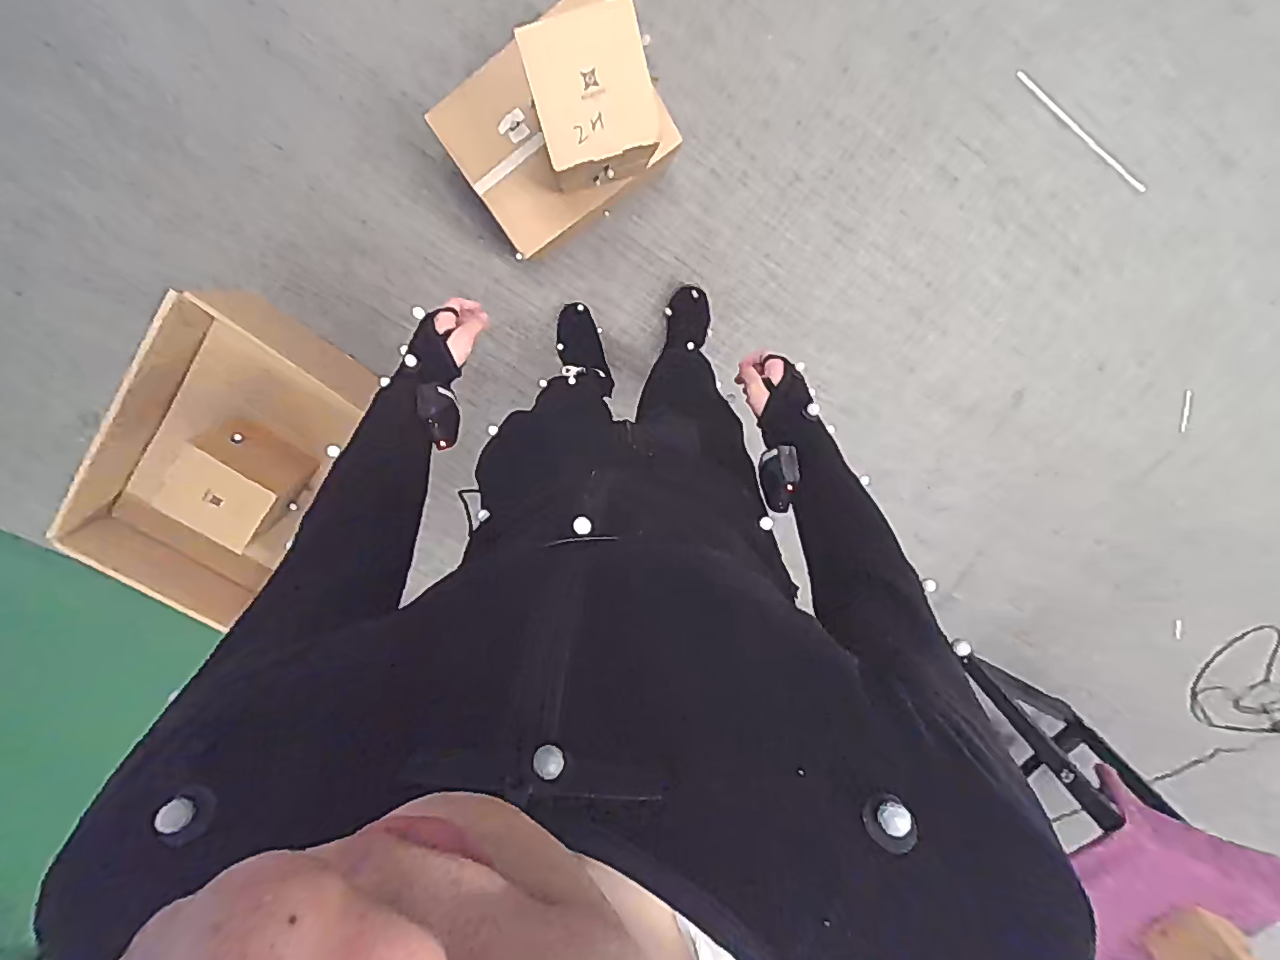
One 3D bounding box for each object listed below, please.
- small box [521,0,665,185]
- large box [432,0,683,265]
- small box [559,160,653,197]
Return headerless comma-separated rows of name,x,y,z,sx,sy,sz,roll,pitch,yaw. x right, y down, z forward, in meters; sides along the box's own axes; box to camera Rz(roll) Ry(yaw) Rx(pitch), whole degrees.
small box,-0.067,-0.571,0.821,0.168,0.176,0.179,-15,114,3
large box,-0.164,-0.732,1.194,0.408,0.320,0.320,-33,109,10
small box,-0.080,-0.632,0.974,0.168,0.176,0.179,-14,113,2
